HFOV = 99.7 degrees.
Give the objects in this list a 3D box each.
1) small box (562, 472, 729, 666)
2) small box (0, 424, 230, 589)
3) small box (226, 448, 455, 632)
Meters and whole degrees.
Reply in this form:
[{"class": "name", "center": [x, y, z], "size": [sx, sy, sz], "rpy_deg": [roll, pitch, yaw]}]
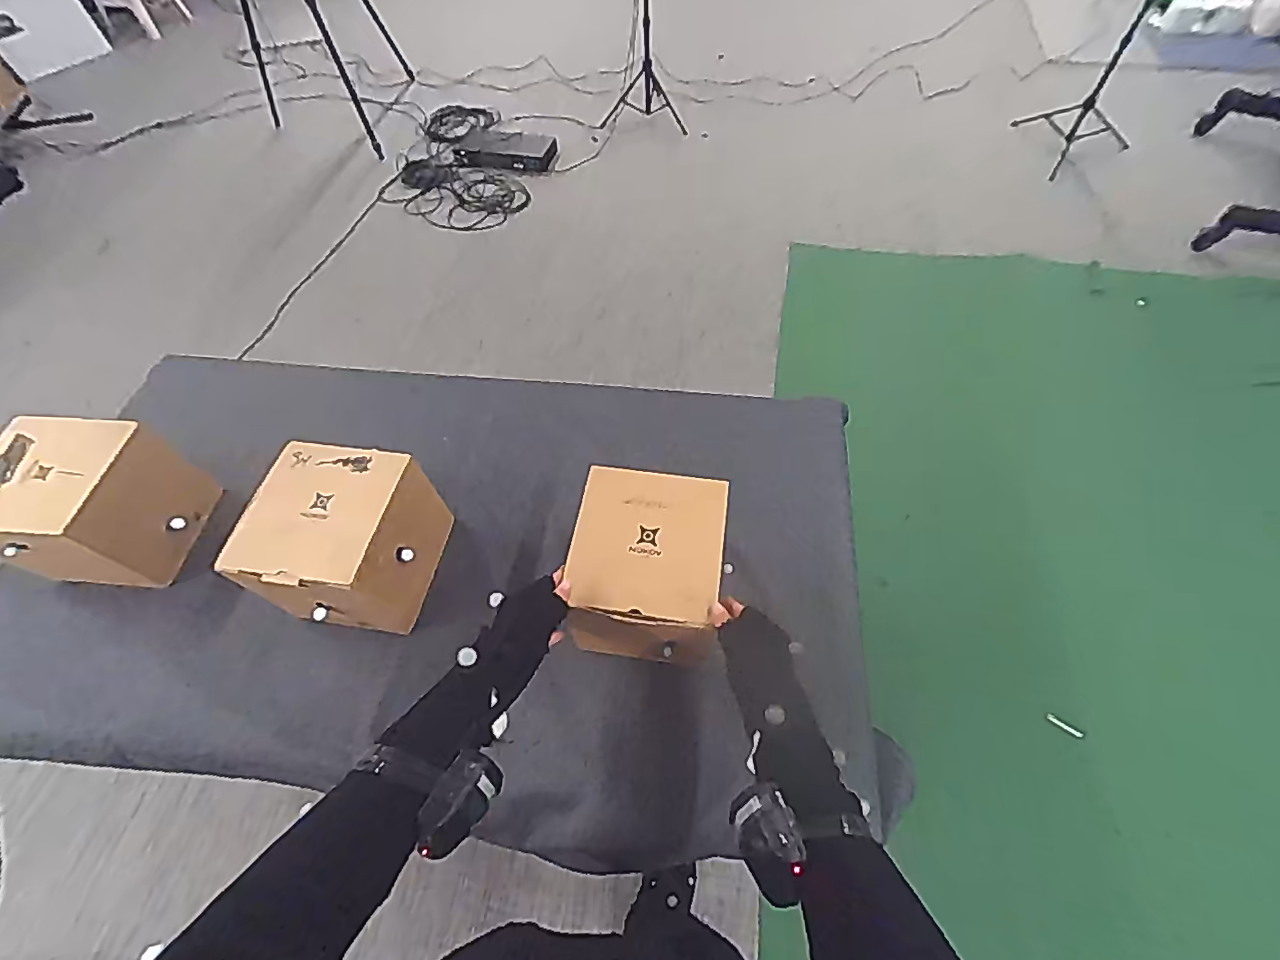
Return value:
[{"class": "small box", "center": [0.014, 0.115, 0.662], "size": [0.168, 0.176, 0.179], "rpy_deg": [7, 57, 6]}, {"class": "small box", "center": [-0.728, 0.041, 0.739], "size": [0.179, 0.176, 0.168], "rpy_deg": [3, 58, 3]}, {"class": "small box", "center": [-0.363, 0.084, 0.698], "size": [0.168, 0.176, 0.179], "rpy_deg": [7, 59, 7]}]
